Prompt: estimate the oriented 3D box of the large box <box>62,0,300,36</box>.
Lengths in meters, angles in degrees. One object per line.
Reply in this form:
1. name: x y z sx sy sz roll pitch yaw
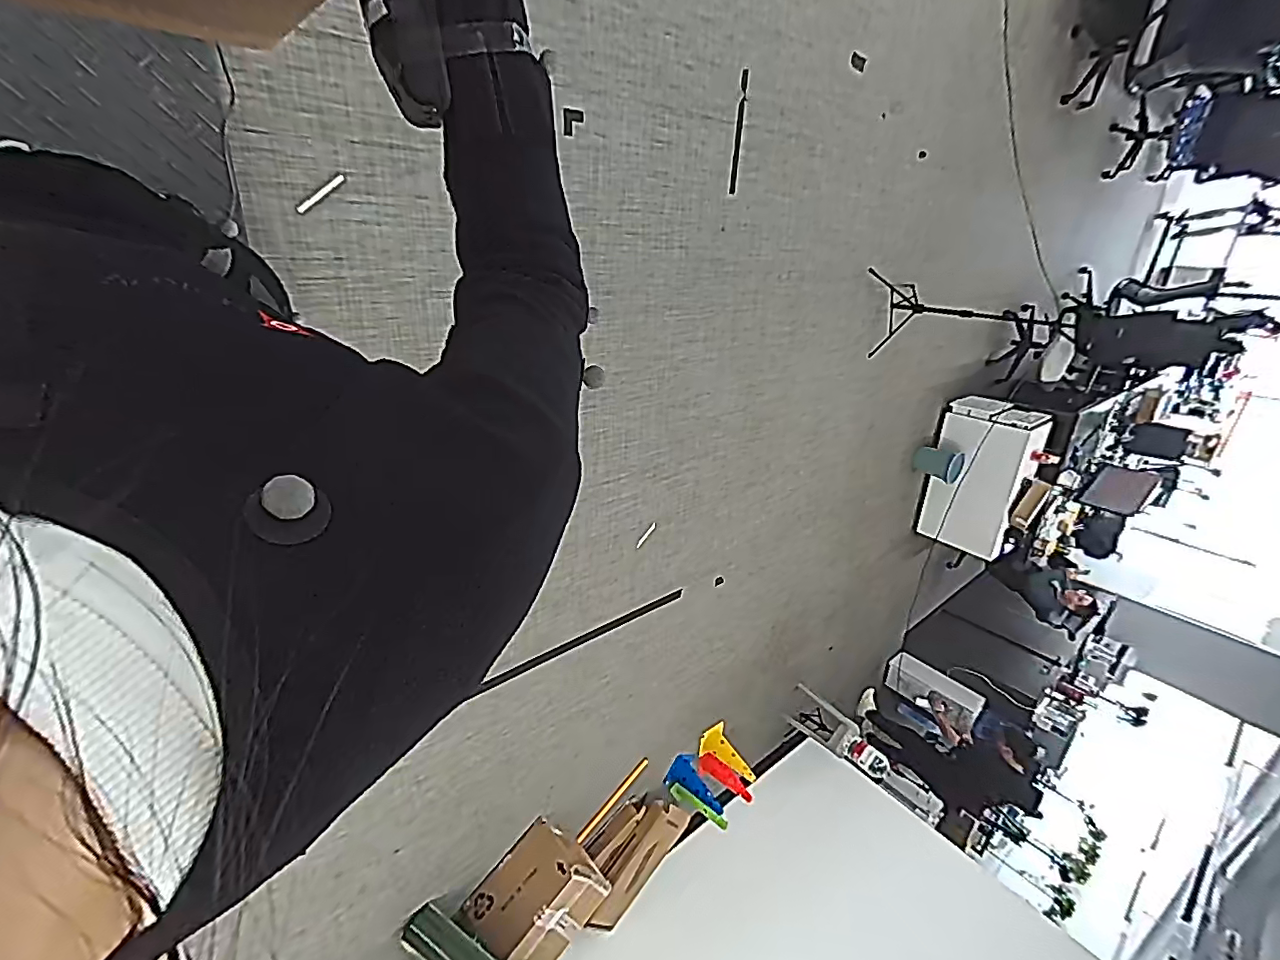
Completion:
1. large box: -0.383 -0.414 0.195 0.408 0.320 0.320 -17 126 -36
